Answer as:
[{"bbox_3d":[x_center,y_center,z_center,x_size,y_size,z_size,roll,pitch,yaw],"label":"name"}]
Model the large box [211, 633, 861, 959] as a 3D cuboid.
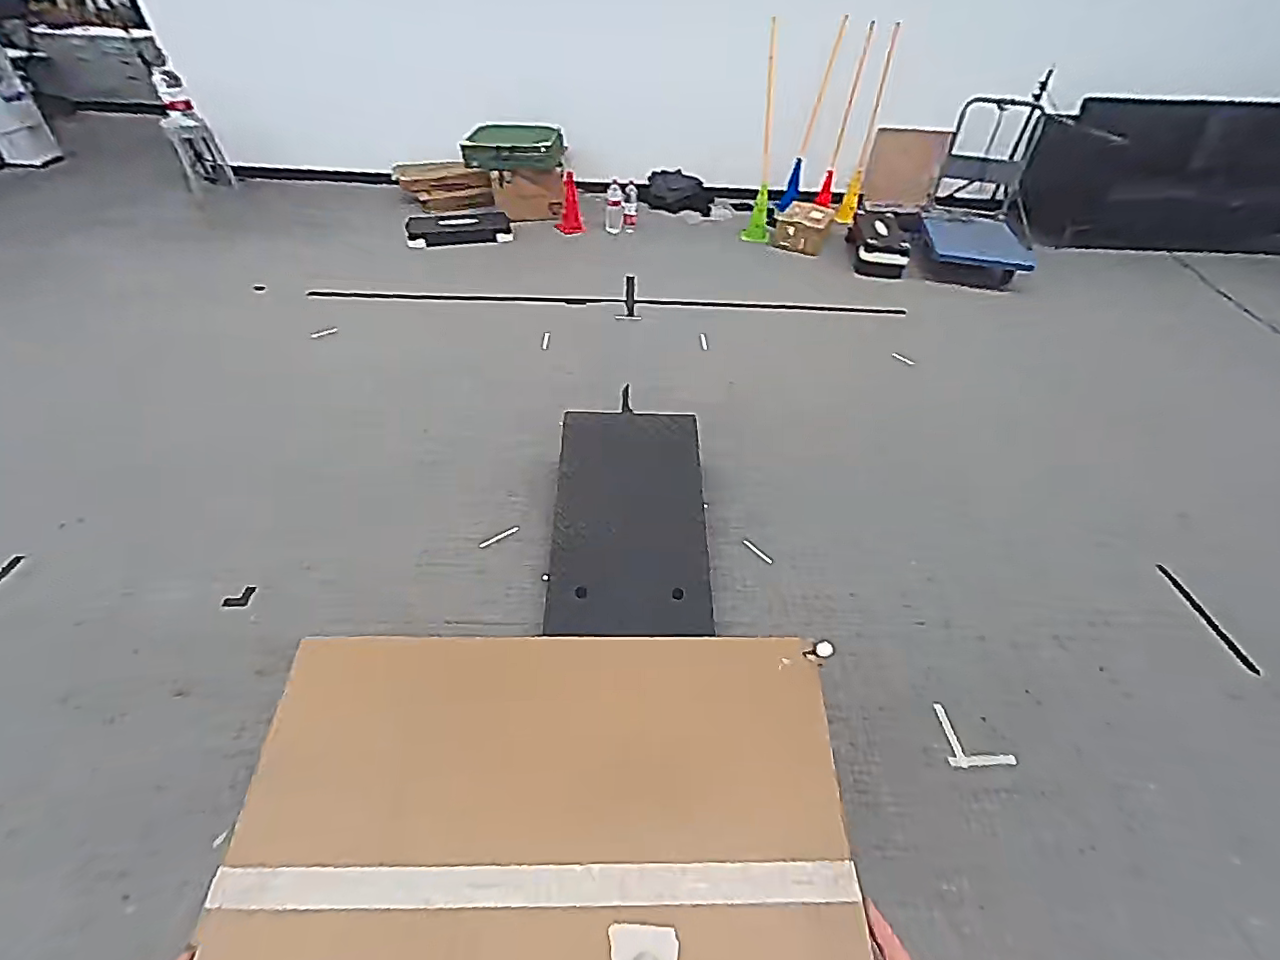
[{"bbox_3d":[-0.066,0.336,0.480,0.408,0.320,0.320,1,58,-1],"label":"large box"}]
